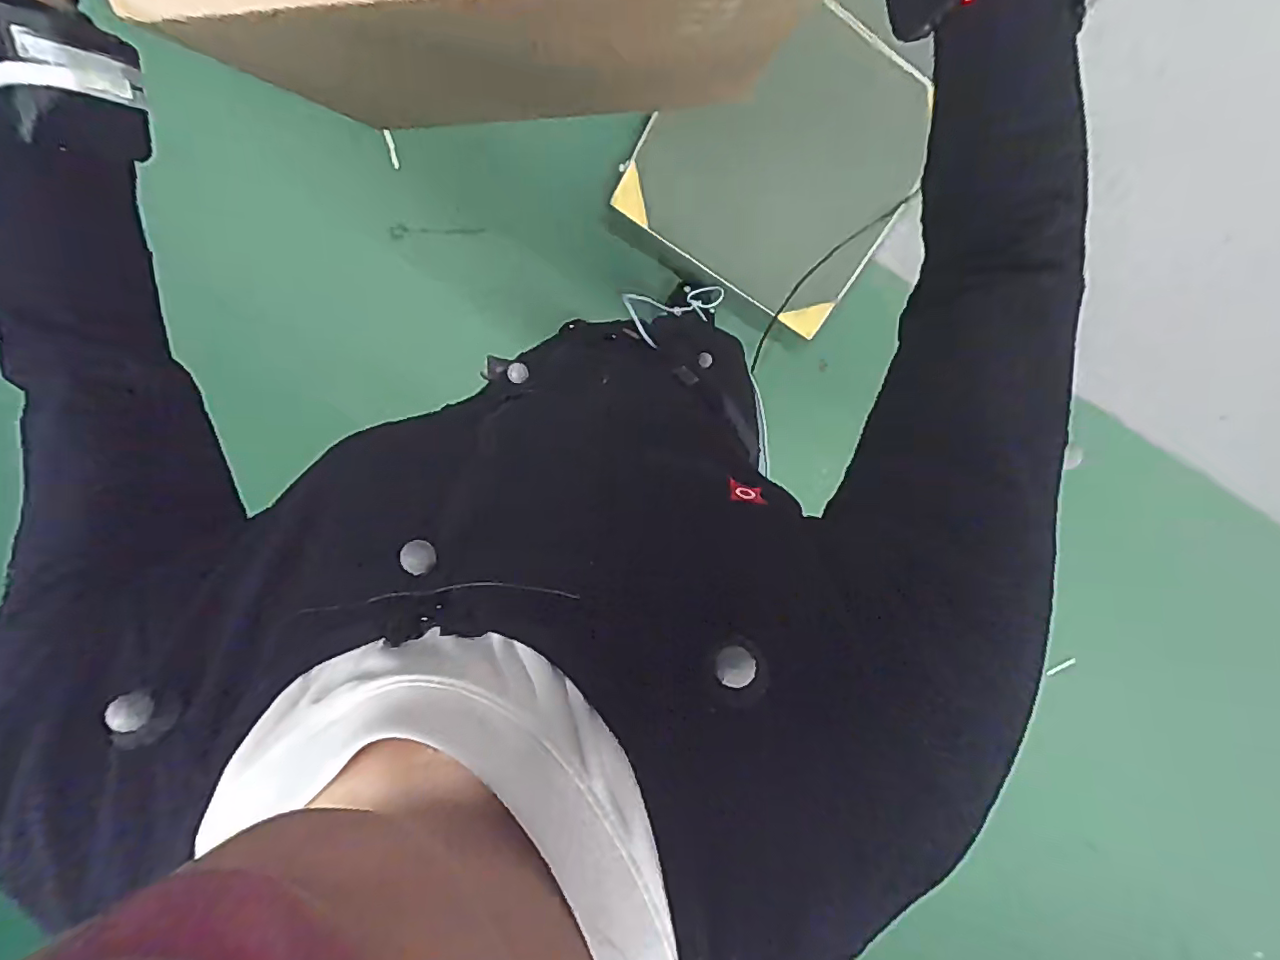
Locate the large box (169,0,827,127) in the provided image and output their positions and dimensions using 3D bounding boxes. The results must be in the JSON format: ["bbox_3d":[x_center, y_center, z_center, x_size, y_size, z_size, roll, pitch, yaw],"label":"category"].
[{"bbox_3d":[-0.081,-0.472,0.378,0.408,0.320,0.320,-4,114,0],"label":"large box"}]
